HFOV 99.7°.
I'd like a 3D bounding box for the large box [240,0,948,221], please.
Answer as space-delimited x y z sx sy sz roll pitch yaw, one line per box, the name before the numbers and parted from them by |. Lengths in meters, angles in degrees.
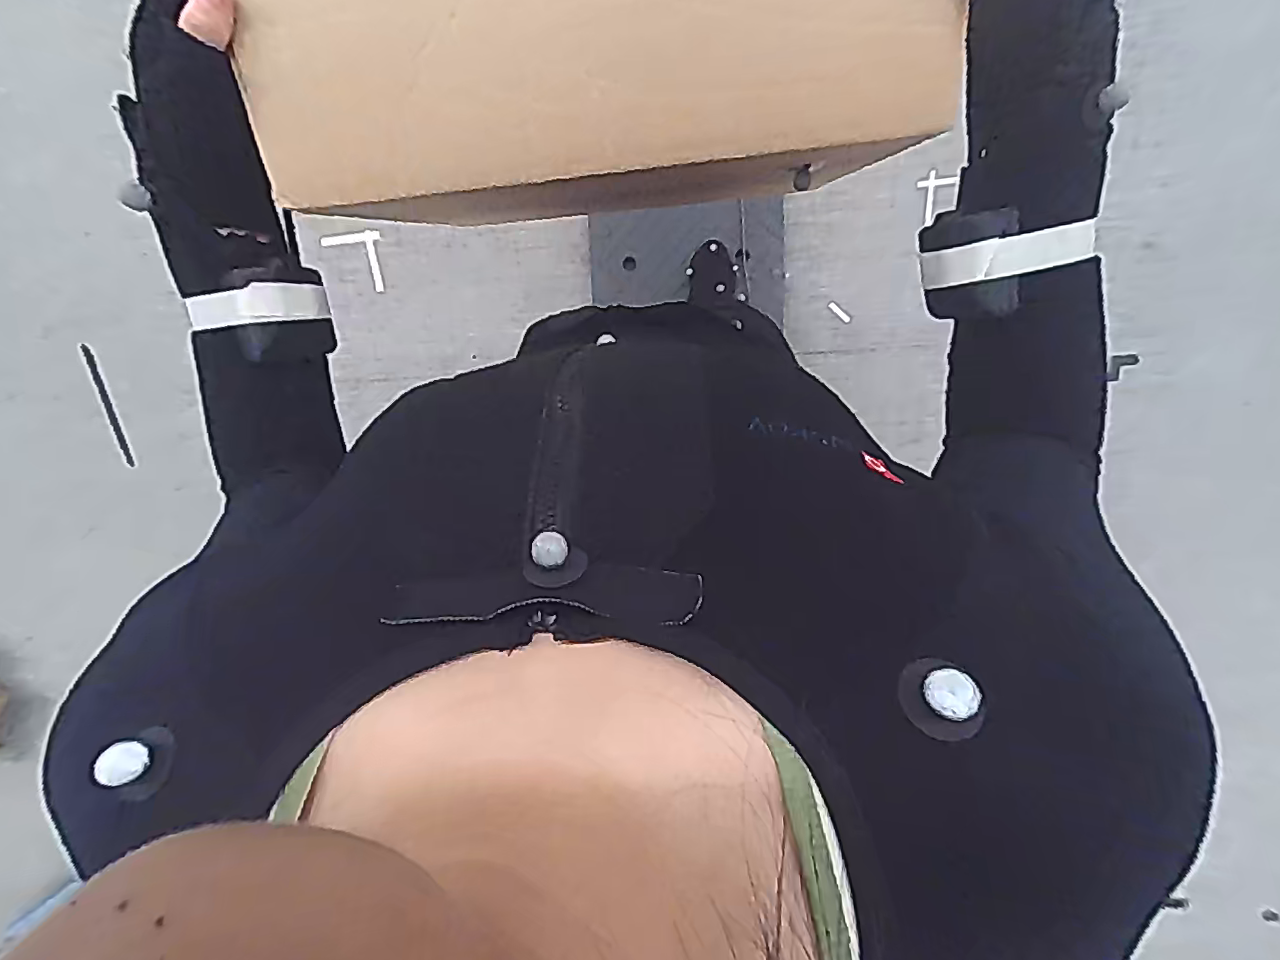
large box | -0.027 -0.392 0.413 0.408 0.320 0.320 -4 113 6
